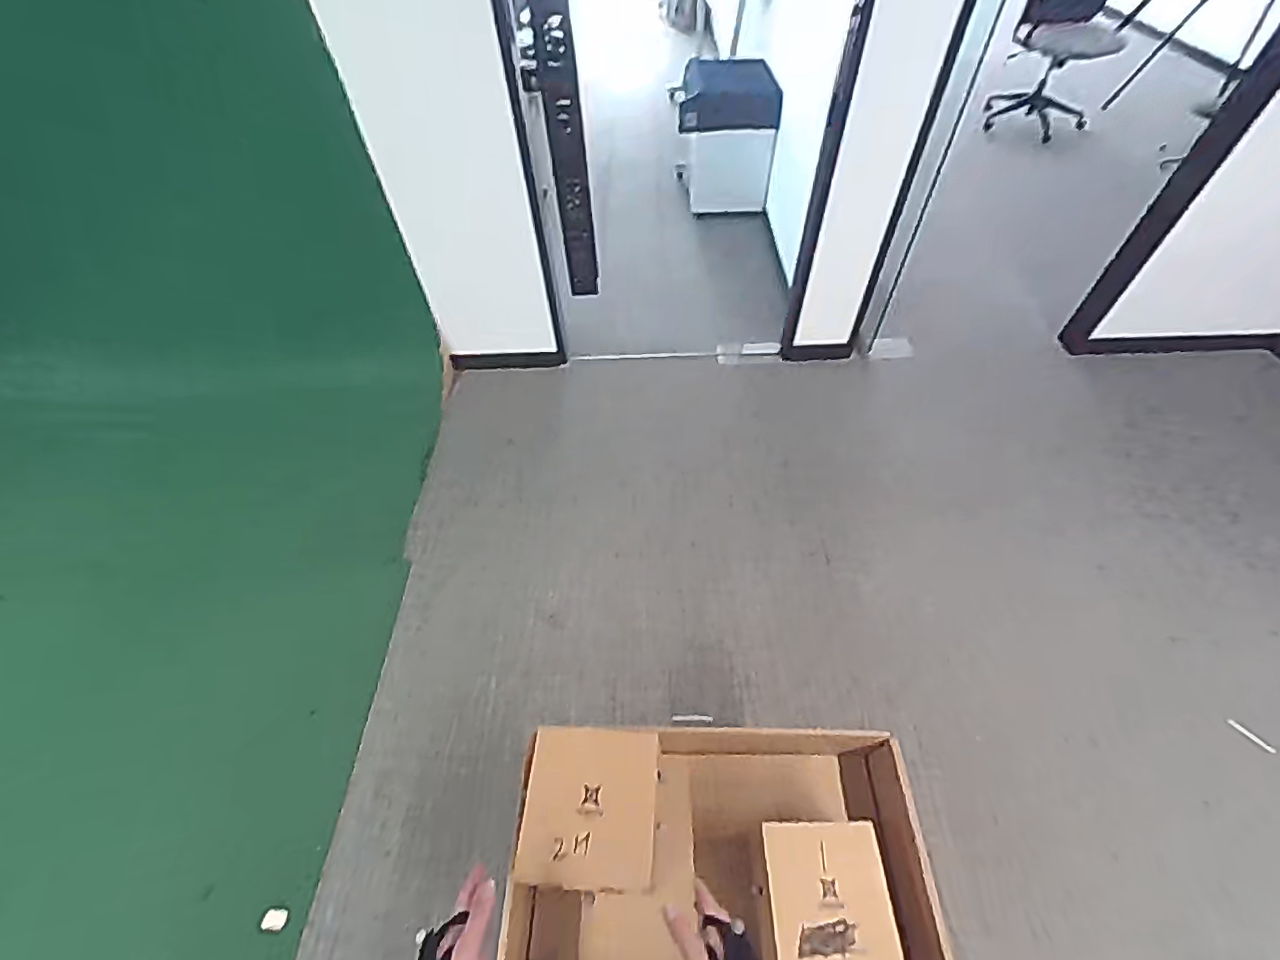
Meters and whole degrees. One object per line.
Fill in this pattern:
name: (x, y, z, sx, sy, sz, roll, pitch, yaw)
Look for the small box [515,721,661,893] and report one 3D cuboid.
small box: (-0.058, 0.451, 0.744, 0.168, 0.176, 0.179, 2, 53, 5)
